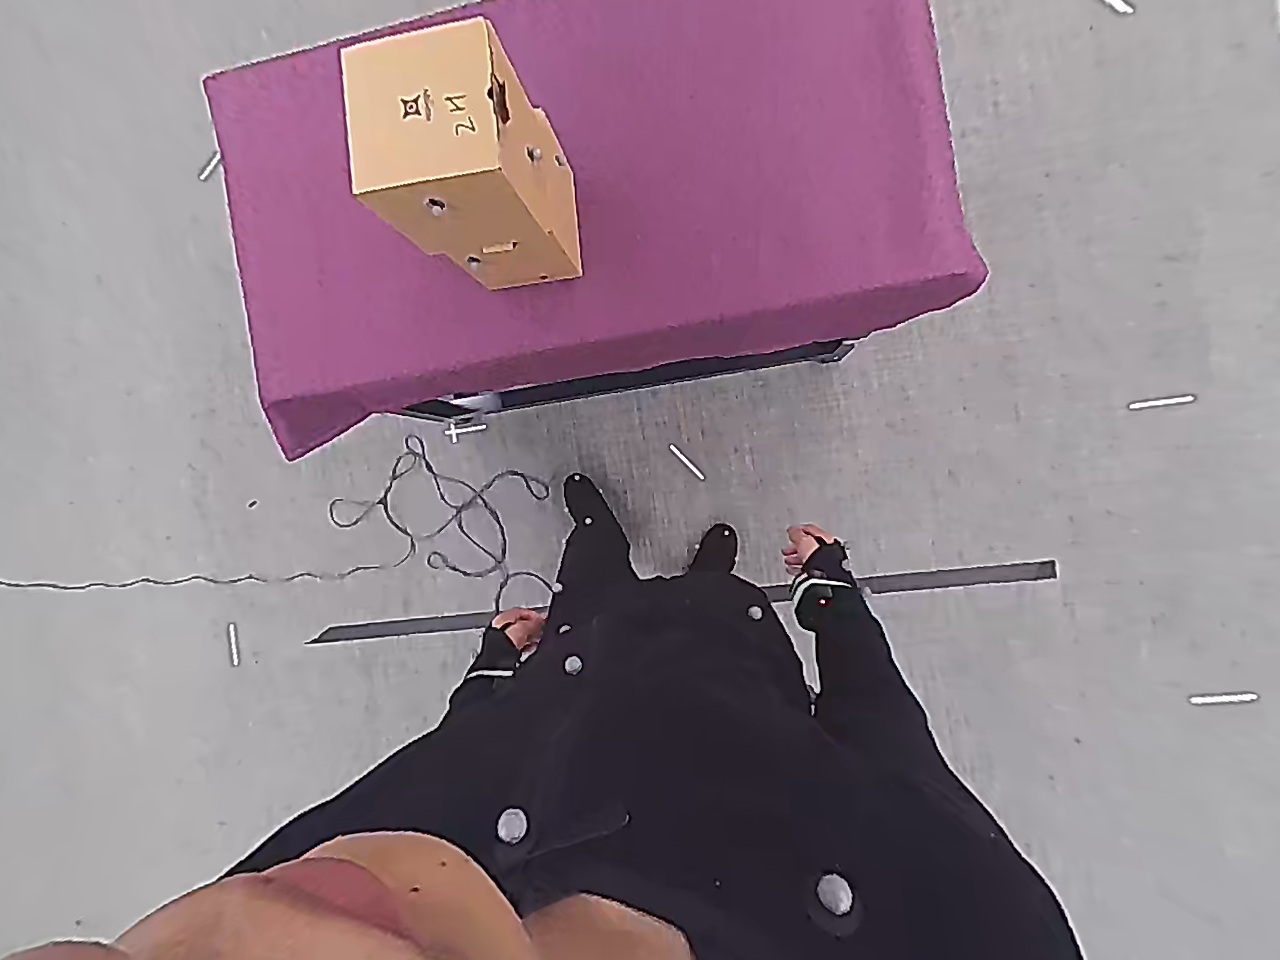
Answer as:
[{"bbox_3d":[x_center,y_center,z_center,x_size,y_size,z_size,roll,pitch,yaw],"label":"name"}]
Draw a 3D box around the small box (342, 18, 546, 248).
[{"bbox_3d":[-0.230,-0.407,0.667,0.179,0.176,0.168,-5,90,7],"label":"small box"}]
